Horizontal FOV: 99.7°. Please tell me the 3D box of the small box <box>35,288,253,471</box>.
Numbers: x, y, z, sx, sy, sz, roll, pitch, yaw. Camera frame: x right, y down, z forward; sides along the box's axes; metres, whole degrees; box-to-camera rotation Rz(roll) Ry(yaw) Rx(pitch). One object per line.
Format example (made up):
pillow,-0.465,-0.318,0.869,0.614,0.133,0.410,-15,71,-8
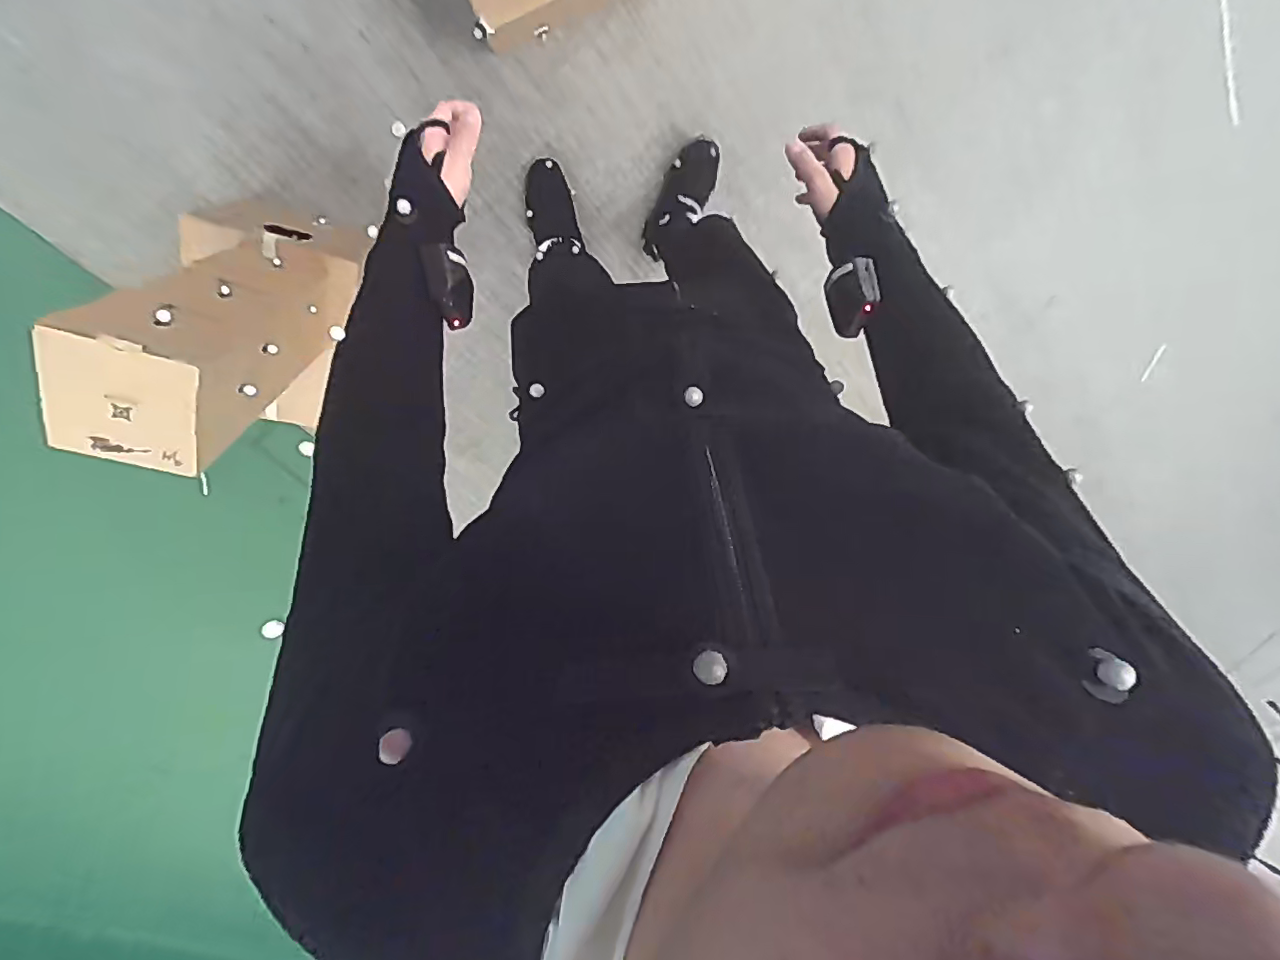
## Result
small box,-0.668,-0.145,0.751,0.168,0.176,0.179,16,117,-19
